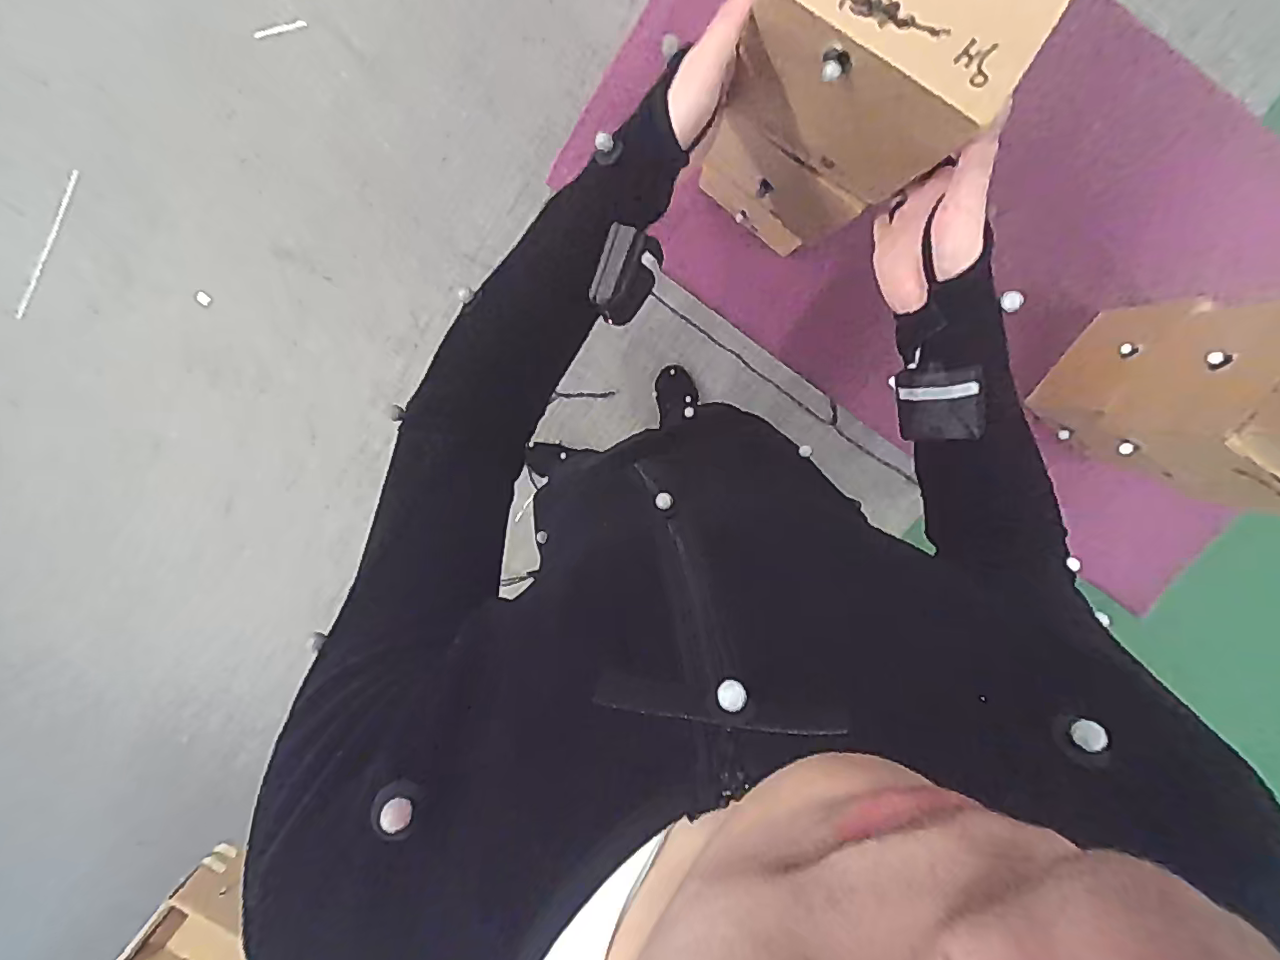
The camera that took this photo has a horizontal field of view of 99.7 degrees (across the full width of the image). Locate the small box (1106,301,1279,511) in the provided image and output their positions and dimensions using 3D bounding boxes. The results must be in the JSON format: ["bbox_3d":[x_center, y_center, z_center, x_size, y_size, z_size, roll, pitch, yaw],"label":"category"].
[{"bbox_3d":[0.691,-0.078,0.610,0.168,0.176,0.179,34,99,-5],"label":"small box"}]

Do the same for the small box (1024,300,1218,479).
[{"bbox_3d":[0.707,-0.127,0.767,0.168,0.176,0.179,37,101,-5],"label":"small box"}]

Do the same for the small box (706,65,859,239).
[{"bbox_3d":[0.181,-0.378,0.554,0.168,0.176,0.179,34,102,-6],"label":"small box"}]

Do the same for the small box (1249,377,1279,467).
[{"bbox_3d":[0.693,-0.054,0.450,0.168,0.176,0.179,33,99,-4],"label":"small box"}]

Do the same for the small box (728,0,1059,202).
[{"bbox_3d":[0.179,-0.341,0.388,0.168,0.176,0.179,29,101,-5],"label":"small box"}]
